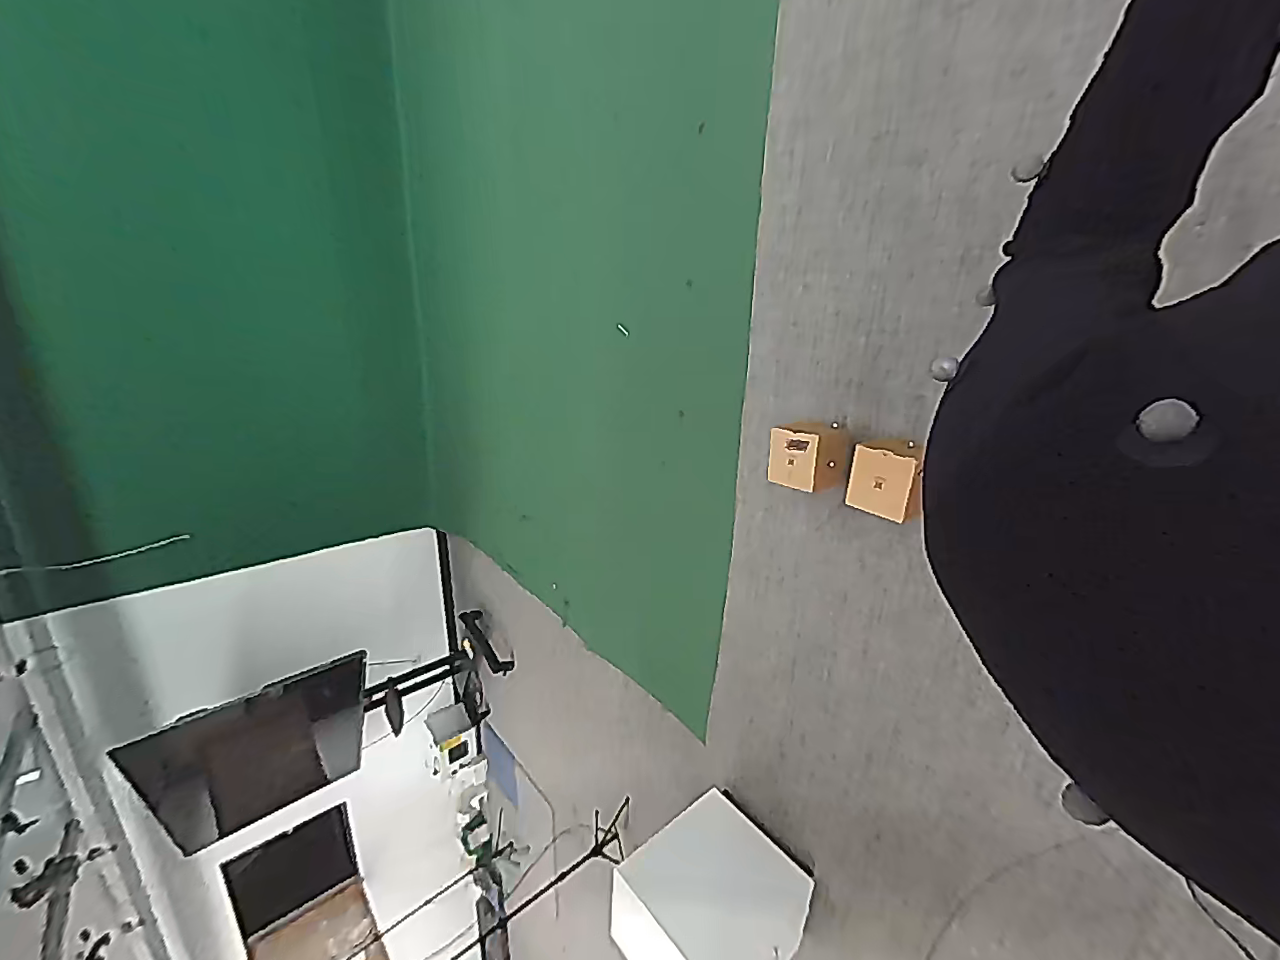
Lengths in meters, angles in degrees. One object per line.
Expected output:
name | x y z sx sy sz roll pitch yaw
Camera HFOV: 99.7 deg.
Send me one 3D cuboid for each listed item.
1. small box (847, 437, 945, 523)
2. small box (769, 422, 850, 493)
small box | 0.691 -0.007 1.457 0.168 0.176 0.179 24 118 46
small box | 0.519 -0.077 1.651 0.168 0.176 0.179 20 116 47
